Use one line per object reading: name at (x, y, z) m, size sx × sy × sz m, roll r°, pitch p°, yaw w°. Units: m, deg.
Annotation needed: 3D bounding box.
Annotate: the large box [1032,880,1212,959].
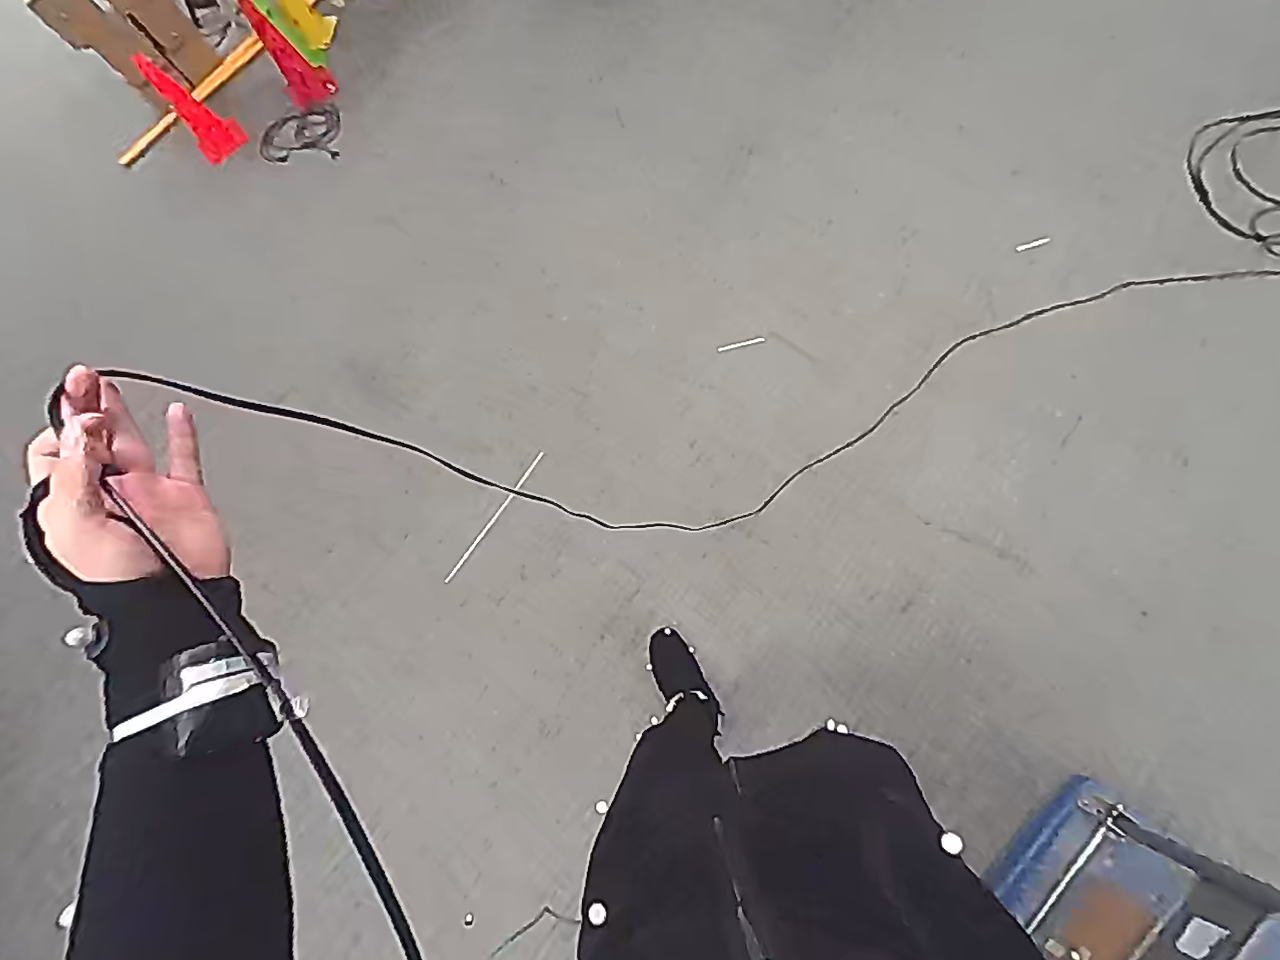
large box at (0.877, 0.944, 0.815) m, size 0.408 × 0.320 × 0.320 m, roll 39°, pitch 84°, yaw 18°
